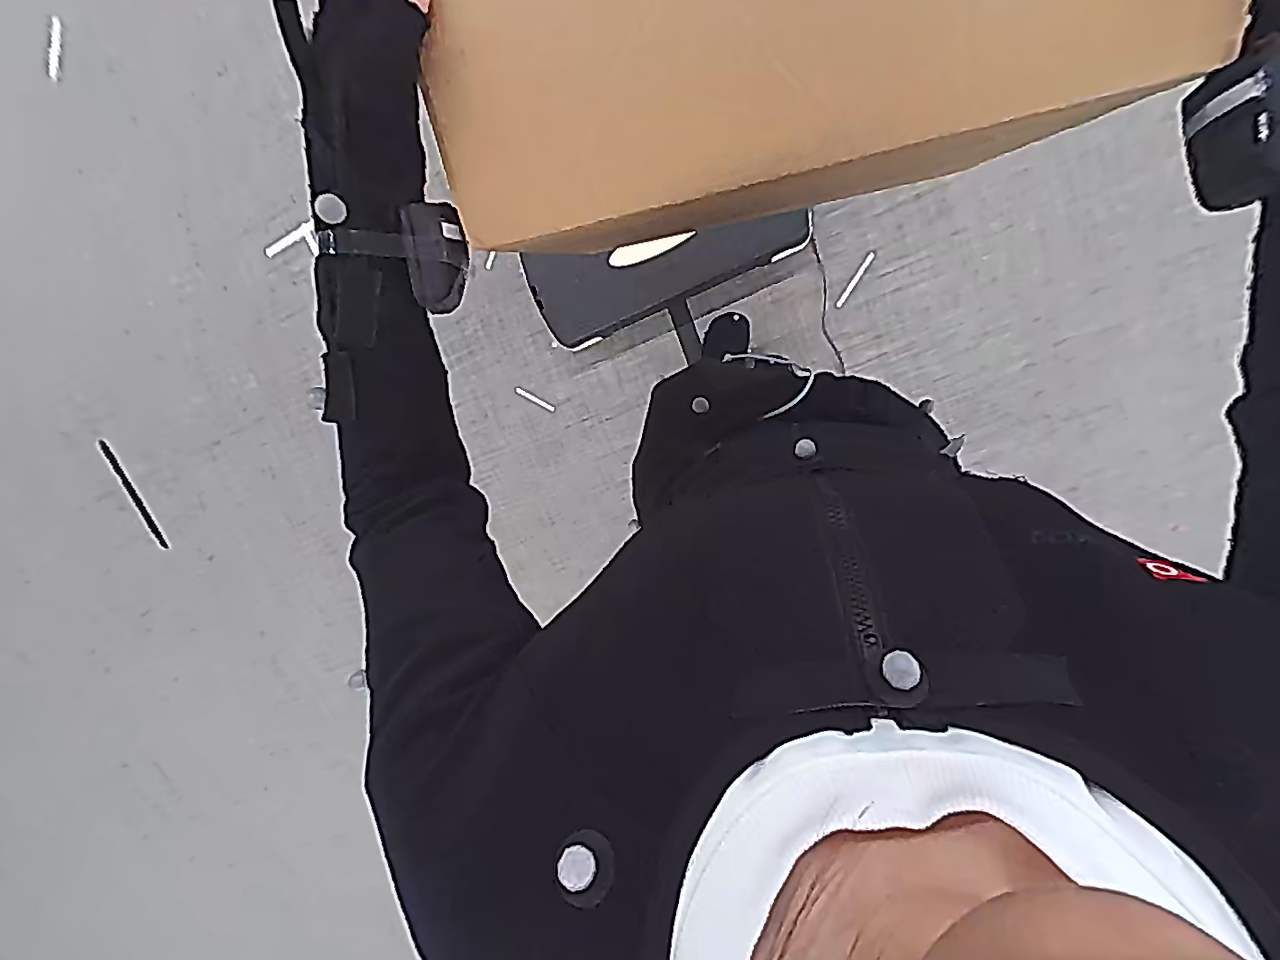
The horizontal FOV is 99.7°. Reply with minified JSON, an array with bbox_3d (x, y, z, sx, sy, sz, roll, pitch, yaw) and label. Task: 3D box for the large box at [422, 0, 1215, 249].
[{"bbox_3d":[0.081,-0.381,0.398,0.408,0.320,0.320,-8,111,12],"label":"large box"}]
